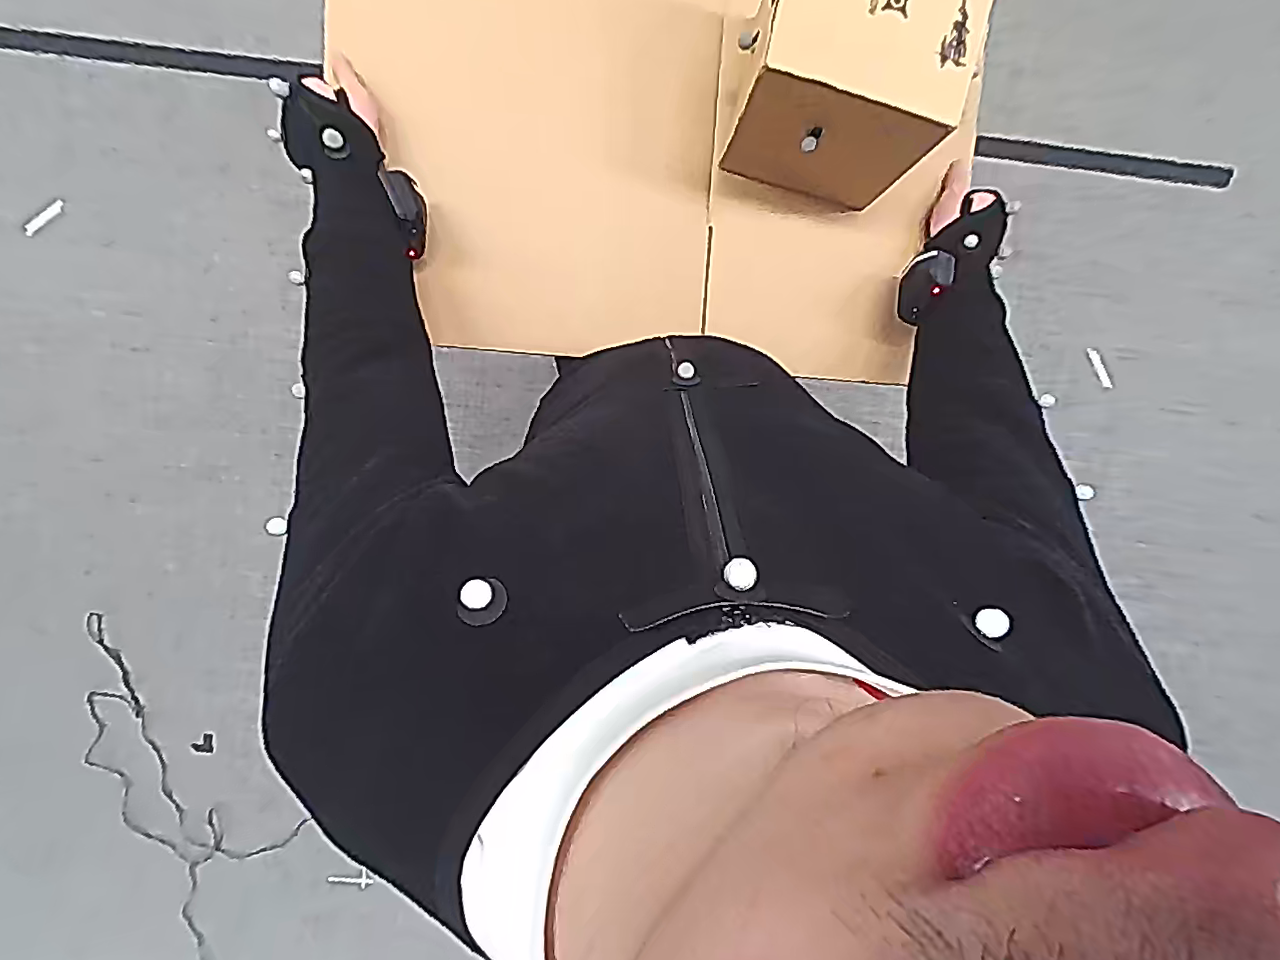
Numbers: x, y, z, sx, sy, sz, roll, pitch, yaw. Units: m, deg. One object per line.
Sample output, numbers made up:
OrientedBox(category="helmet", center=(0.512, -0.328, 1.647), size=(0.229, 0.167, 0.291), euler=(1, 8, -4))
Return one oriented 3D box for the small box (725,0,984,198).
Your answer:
OrientedBox(category="small box", center=(0.195, -0.406, 0.527), size=(0.179, 0.176, 0.168), euler=(14, 94, -4))
